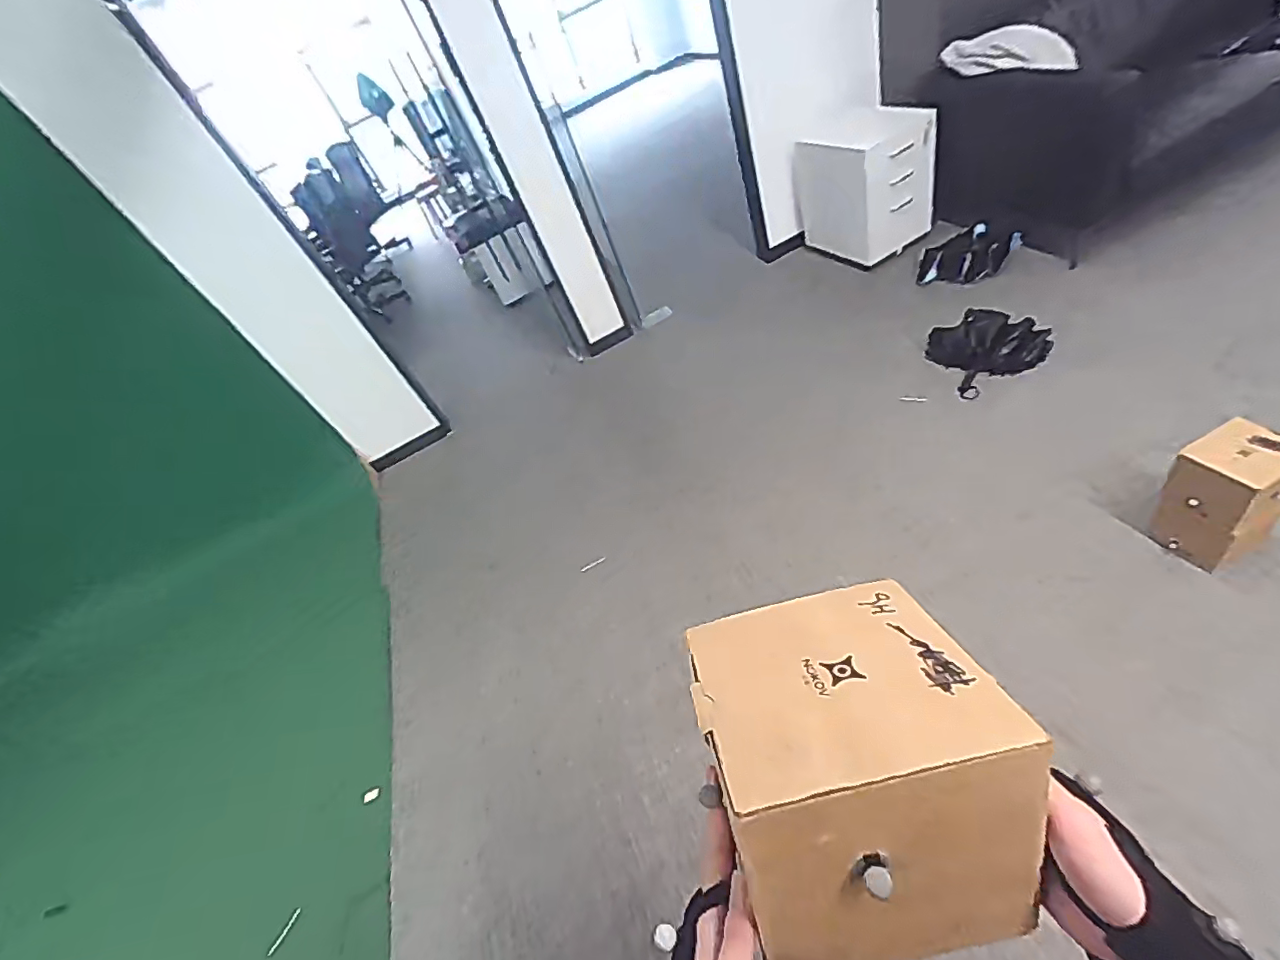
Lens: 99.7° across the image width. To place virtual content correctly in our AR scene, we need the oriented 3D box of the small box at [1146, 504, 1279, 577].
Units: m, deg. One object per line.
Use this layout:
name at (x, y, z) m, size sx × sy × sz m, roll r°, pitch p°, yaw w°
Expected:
small box at (1.479, 0.116, 1.407) m, size 0.179 × 0.176 × 0.168 m, roll -31°, pitch 41°, yaw -4°

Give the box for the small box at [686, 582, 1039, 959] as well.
small box at (0.143, 0.203, 0.387) m, size 0.179 × 0.176 × 0.168 m, roll -13°, pitch 20°, yaw 1°

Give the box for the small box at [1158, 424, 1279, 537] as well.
small box at (1.418, 0.003, 1.304) m, size 0.179 × 0.176 × 0.168 m, roll -30°, pitch 41°, yaw -3°
